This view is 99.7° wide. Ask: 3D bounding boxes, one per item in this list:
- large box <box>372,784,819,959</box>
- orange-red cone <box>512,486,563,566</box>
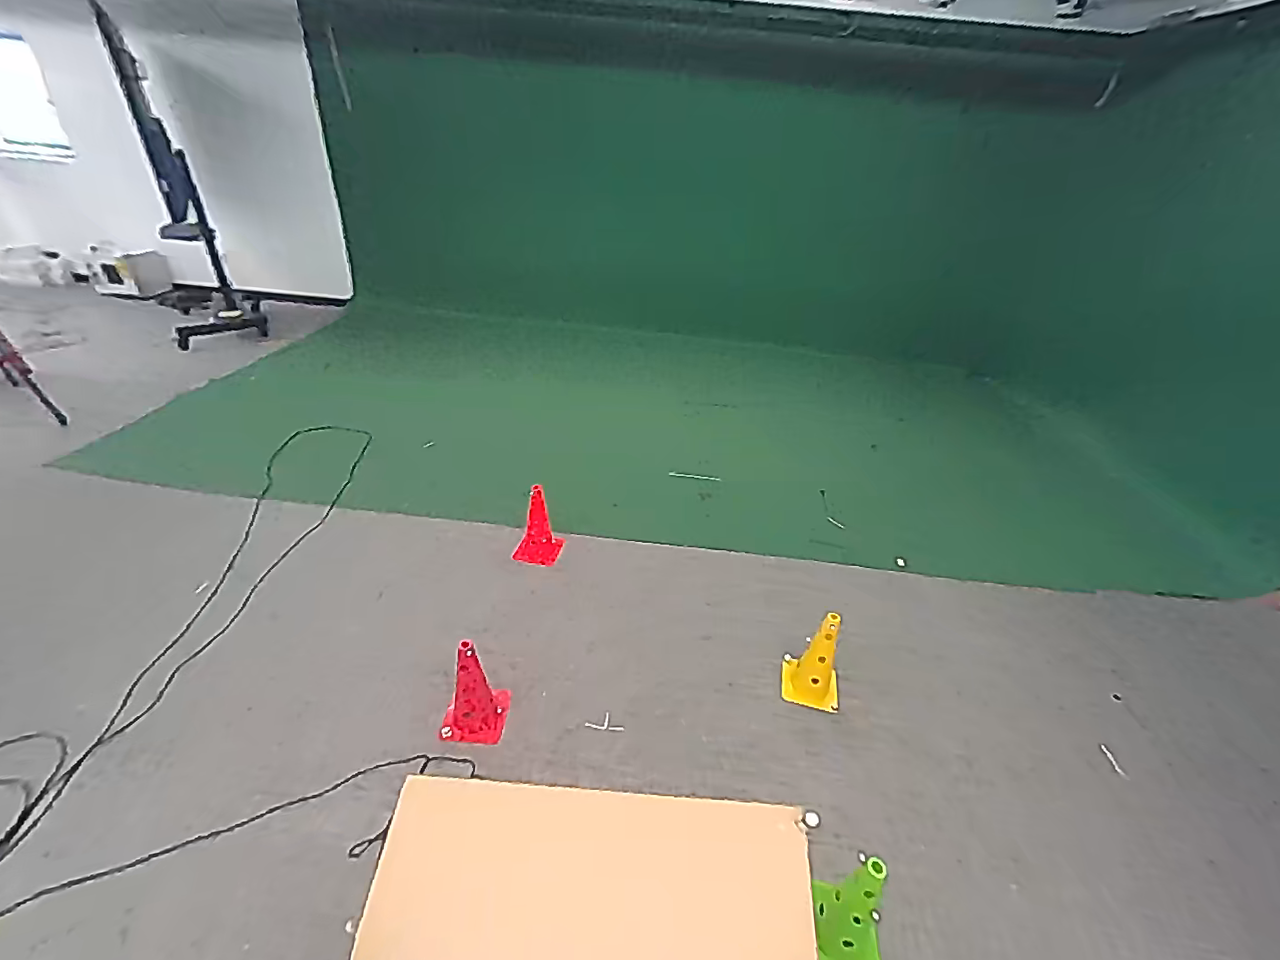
[{"bbox_3d":[-0.044,0.536,0.577,0.408,0.320,0.320,3,53,1],"label":"large box"},{"bbox_3d":[-0.471,0.184,2.444,0.199,0.360,0.198,9,32,9],"label":"orange-red cone"}]
